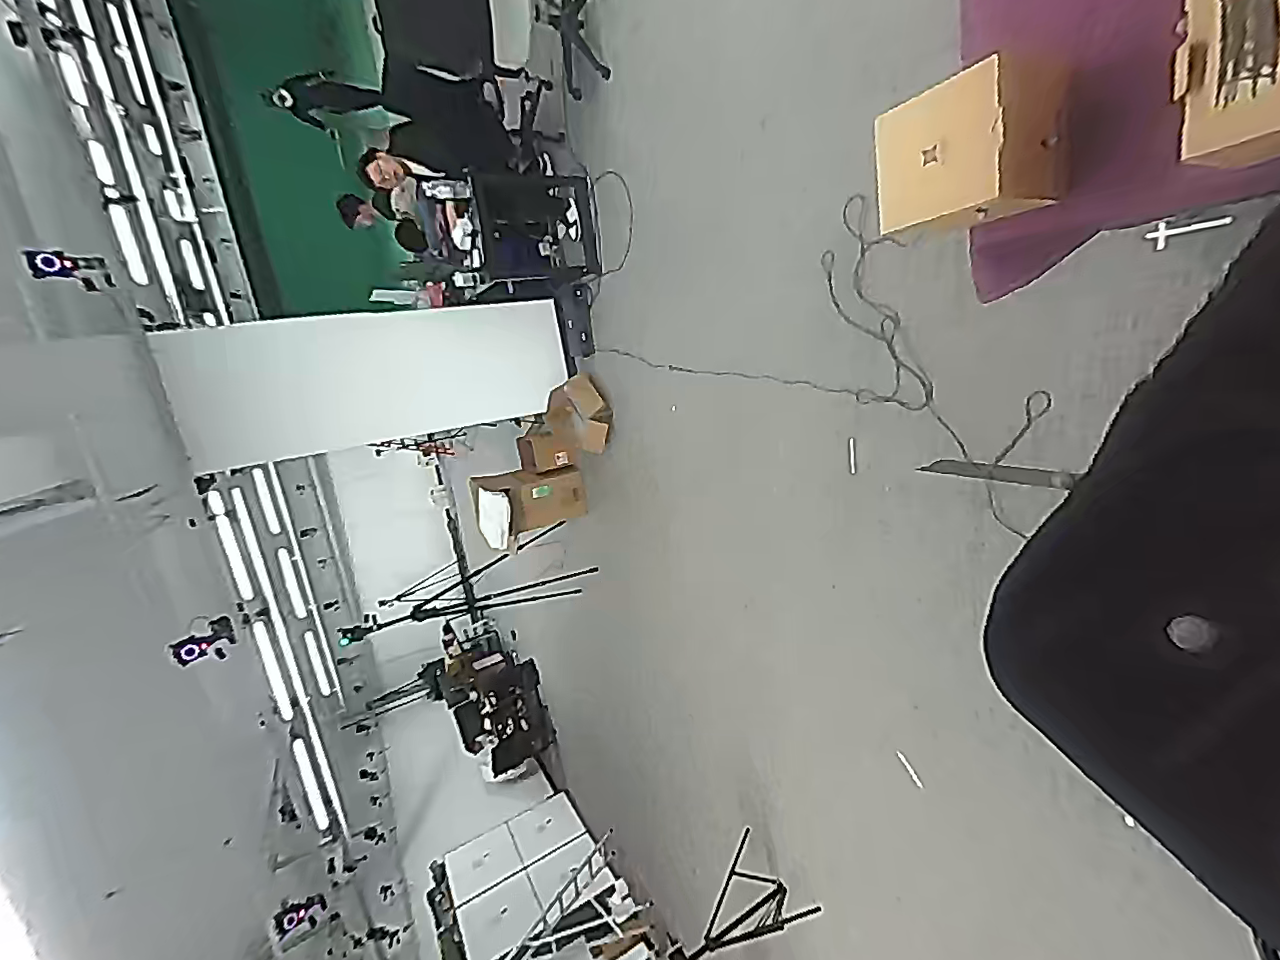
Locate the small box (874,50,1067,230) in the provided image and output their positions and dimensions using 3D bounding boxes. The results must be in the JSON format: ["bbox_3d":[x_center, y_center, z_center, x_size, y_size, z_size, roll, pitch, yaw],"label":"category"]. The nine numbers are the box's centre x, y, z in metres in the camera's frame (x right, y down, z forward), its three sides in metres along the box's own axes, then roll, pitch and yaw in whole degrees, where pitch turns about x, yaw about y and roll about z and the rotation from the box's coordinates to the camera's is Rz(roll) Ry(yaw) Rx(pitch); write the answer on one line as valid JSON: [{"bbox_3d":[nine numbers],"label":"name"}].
[{"bbox_3d":[0.467,-0.466,0.774,0.179,0.176,0.168,12,114,59],"label":"small box"}]
